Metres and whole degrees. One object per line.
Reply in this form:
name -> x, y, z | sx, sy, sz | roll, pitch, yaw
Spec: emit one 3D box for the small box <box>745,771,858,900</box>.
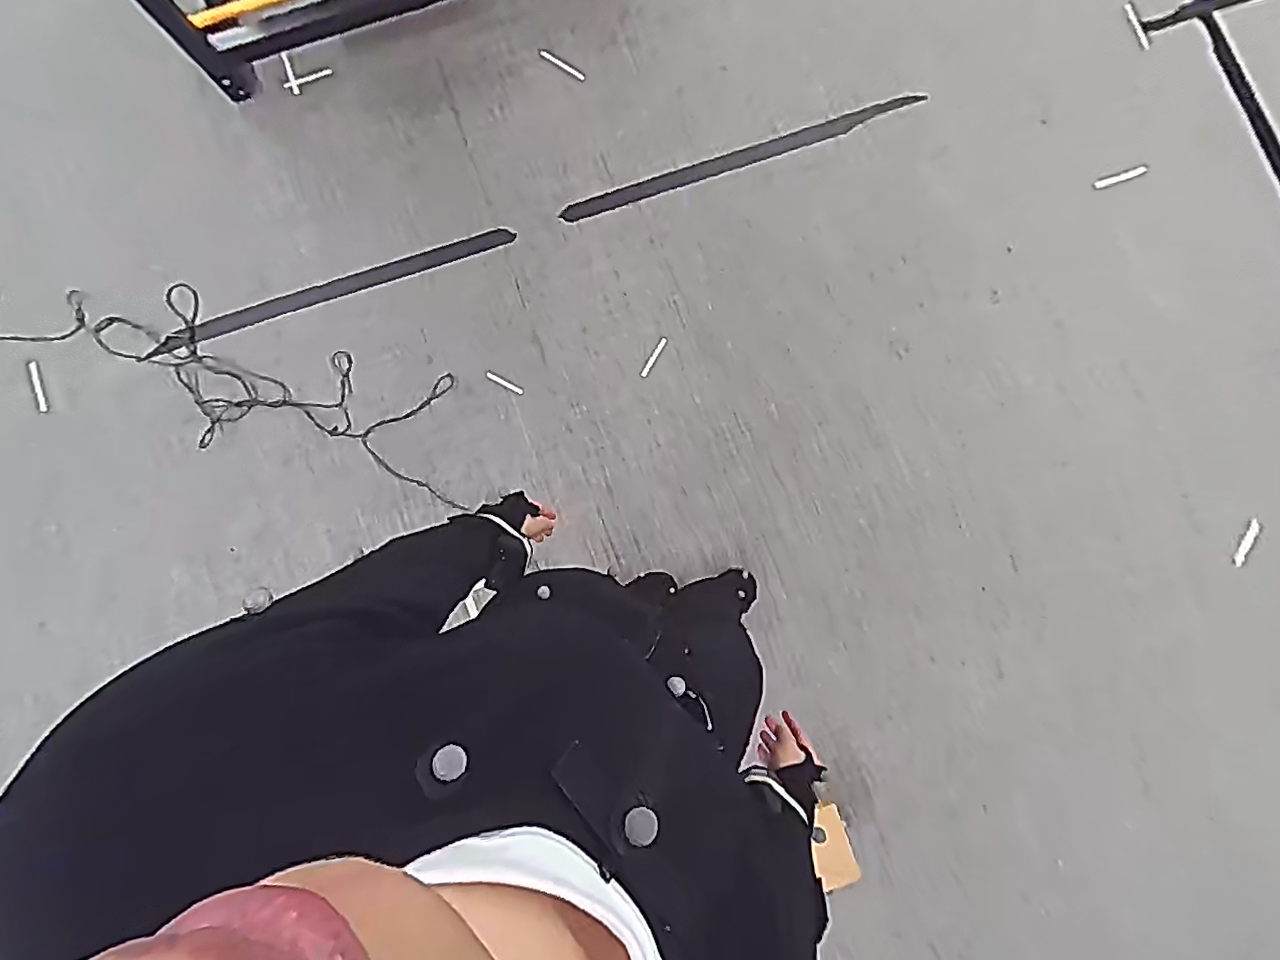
small box -> 0.363, 0.811, 1.241 | 0.179, 0.176, 0.168 | -19, 85, -2
